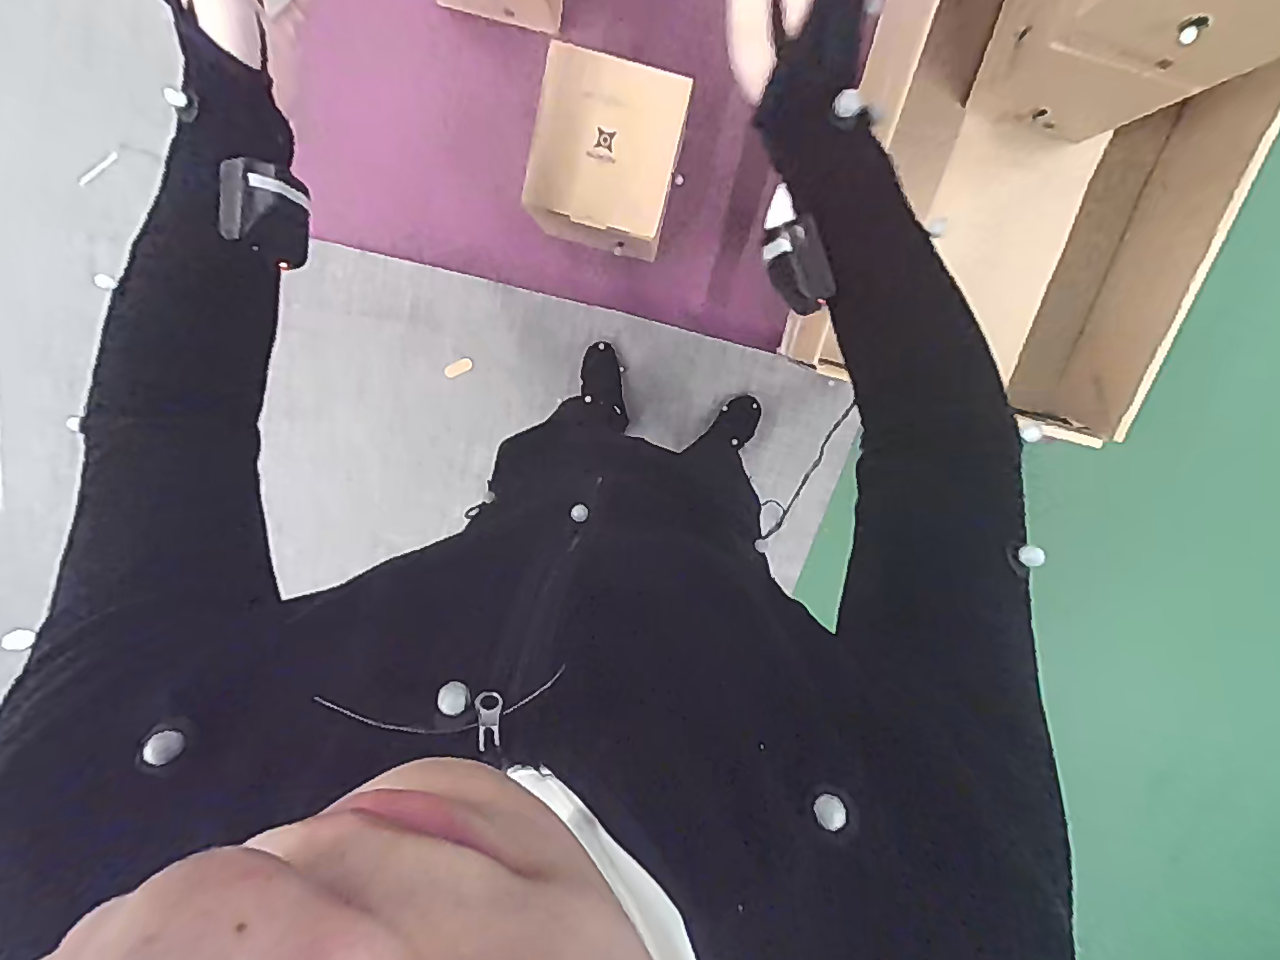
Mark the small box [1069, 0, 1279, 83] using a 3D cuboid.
[{"bbox_3d":[0.507,-0.469,0.439,0.168,0.176,0.179,17,106,-2],"label":"small box"}]

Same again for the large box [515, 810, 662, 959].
[{"bbox_3d":[-0.162,1.424,1.863,0.408,0.320,0.320,-17,105,5],"label":"large box"}]

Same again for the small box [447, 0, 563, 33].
[{"bbox_3d":[-0.173,-0.674,0.628,0.168,0.176,0.179,13,104,-2],"label":"small box"}]
